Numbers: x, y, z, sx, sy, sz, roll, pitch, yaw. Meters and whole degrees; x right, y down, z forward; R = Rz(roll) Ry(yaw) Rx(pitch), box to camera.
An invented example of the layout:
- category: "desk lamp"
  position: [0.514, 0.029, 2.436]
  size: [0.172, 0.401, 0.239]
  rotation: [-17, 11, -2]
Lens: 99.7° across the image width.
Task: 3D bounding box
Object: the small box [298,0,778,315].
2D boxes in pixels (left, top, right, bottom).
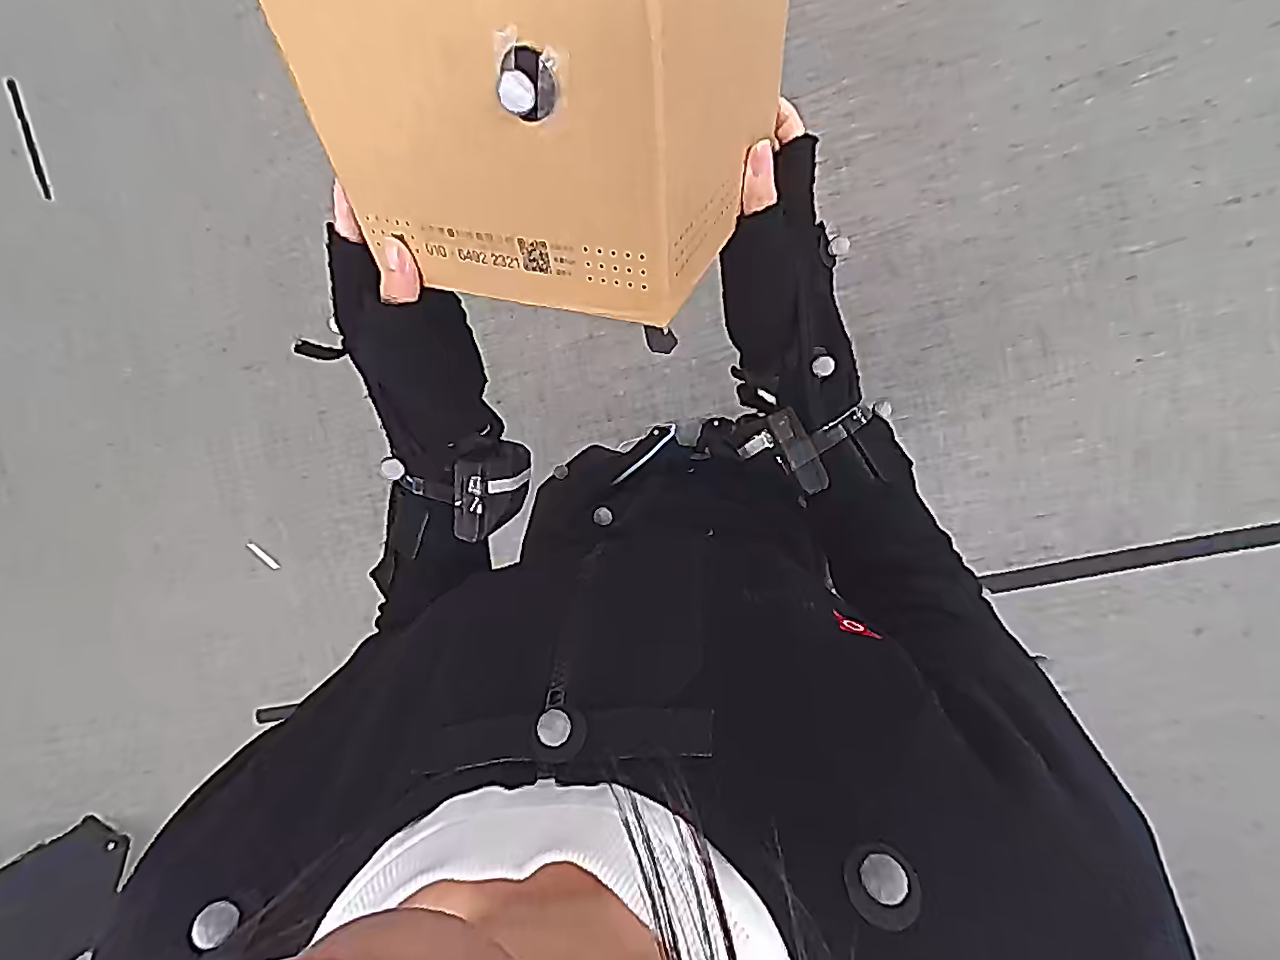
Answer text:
- category: "small box"
  position: [-0.030, -0.206, 0.271]
  size: [0.168, 0.179, 0.176]
  rotation: [17, 141, 19]
